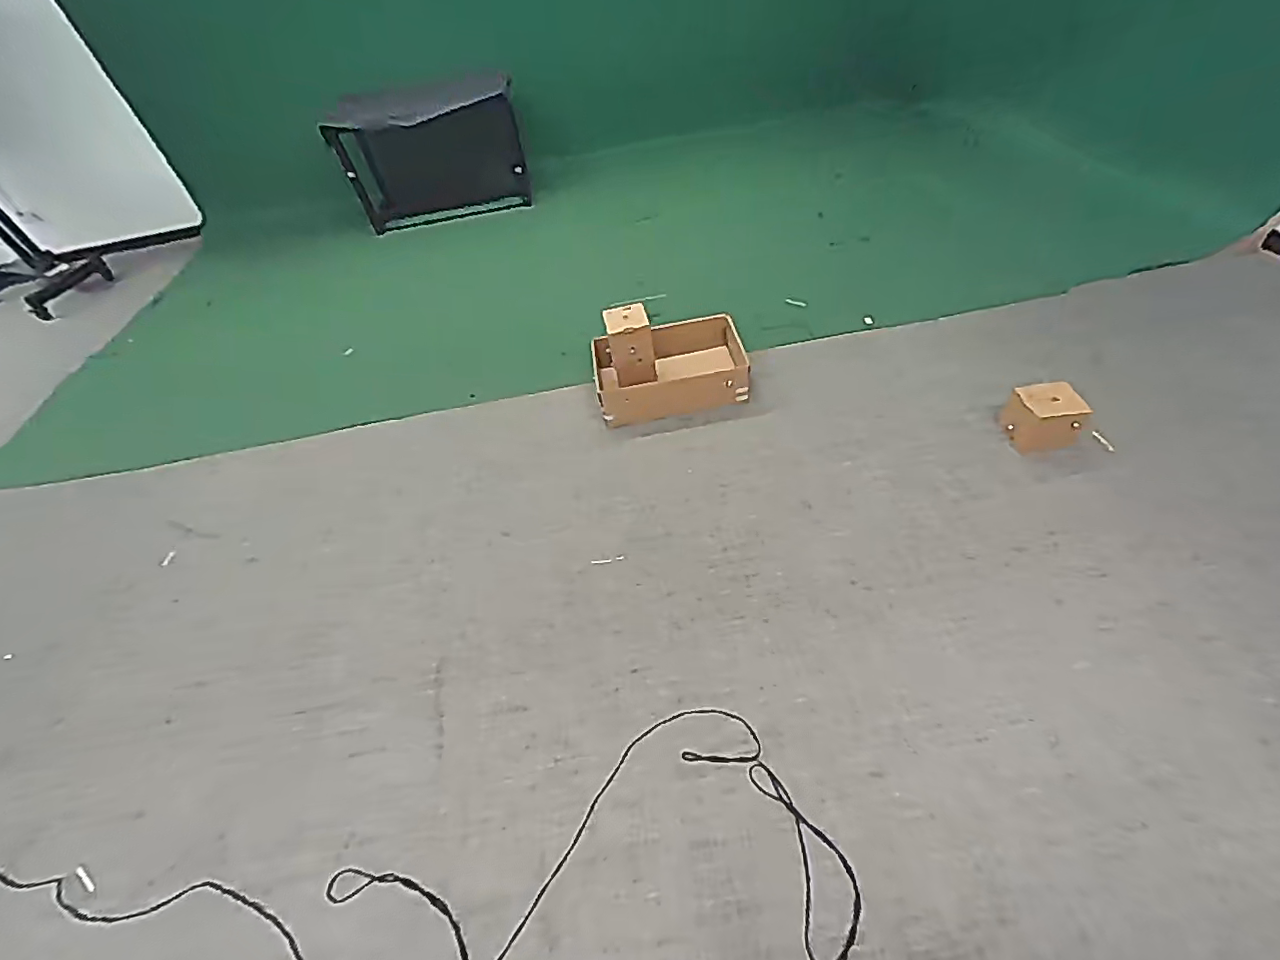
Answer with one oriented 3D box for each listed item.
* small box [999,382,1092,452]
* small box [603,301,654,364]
[{"bbox_3d":[1.389,-0.215,1.867,0.179,0.176,0.168,-7,47,4],"label":"small box"},{"bbox_3d":[-0.043,-0.582,2.159,0.168,0.176,0.179,-12,49,-1],"label":"small box"}]
